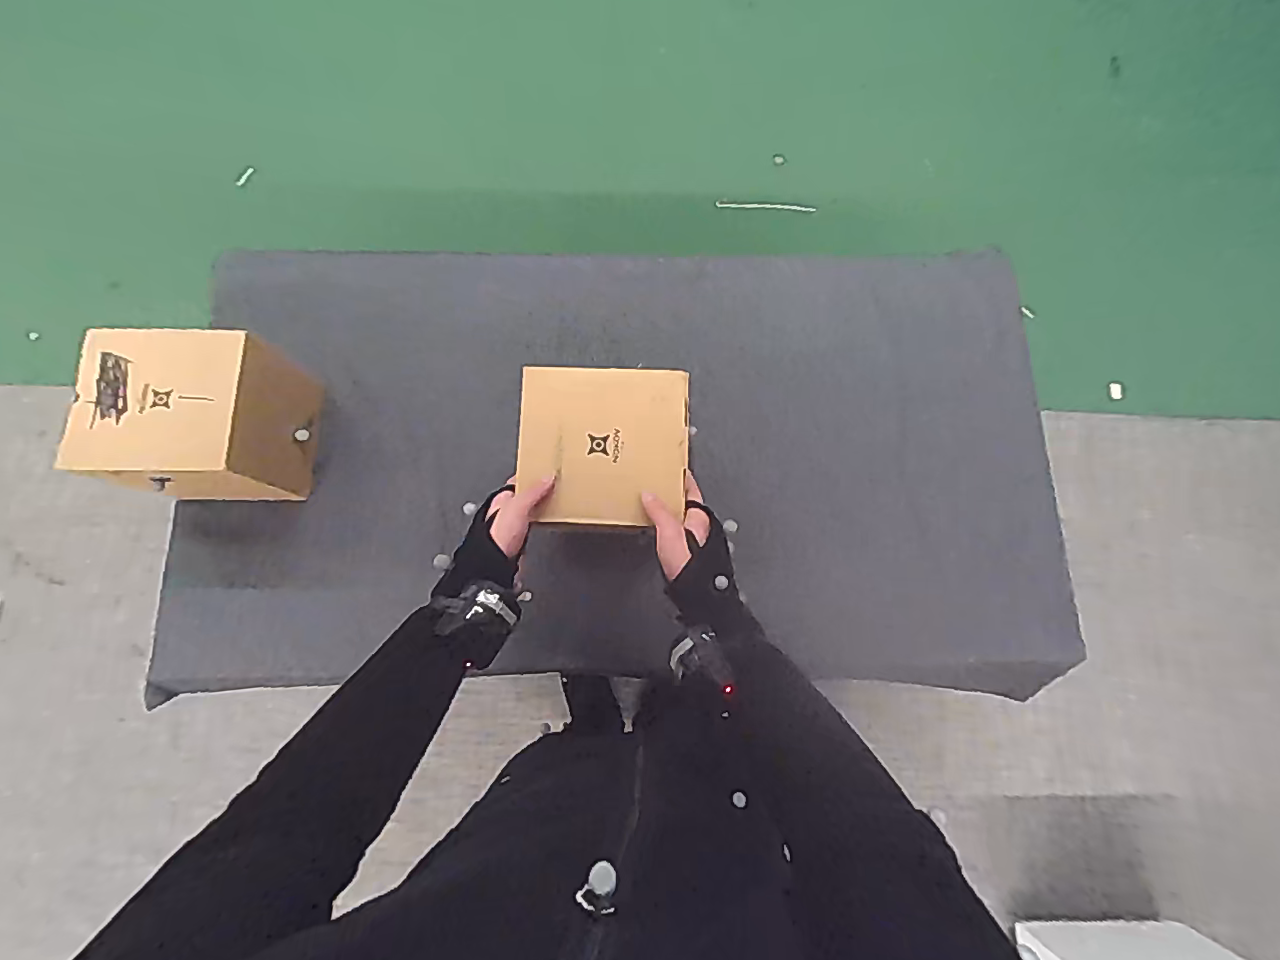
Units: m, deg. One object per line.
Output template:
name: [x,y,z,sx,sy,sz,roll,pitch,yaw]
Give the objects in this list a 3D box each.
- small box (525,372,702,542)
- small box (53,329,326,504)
small box: [-0.023,-0.017,0.624,0.179,0.176,0.168,1,80,2]
small box: [-0.518,-0.066,0.653,0.179,0.176,0.168,1,77,-4]
